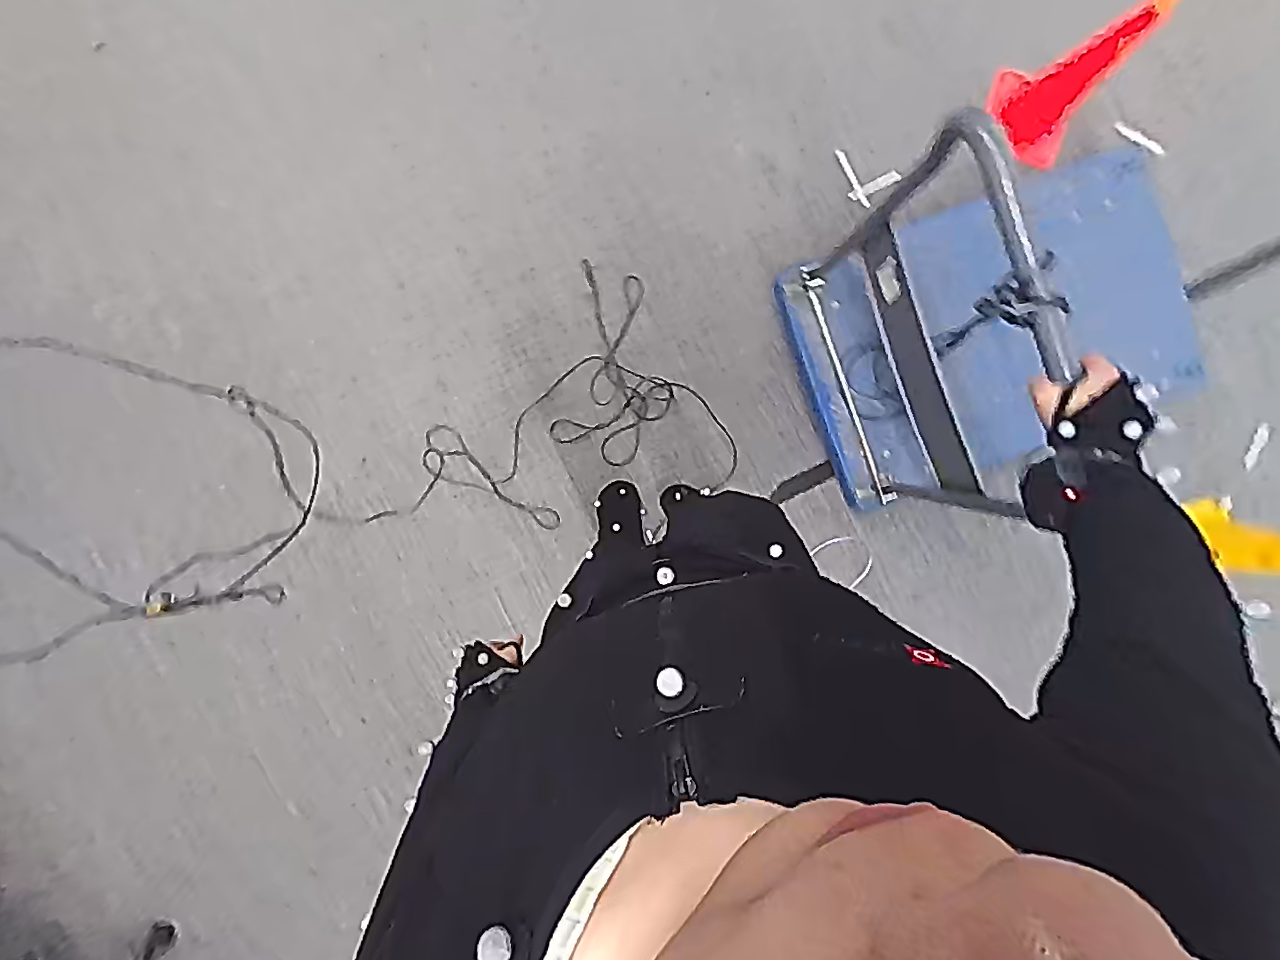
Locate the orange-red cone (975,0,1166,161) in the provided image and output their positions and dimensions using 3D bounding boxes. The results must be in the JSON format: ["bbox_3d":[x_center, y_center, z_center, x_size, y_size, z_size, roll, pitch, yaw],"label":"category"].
[{"bbox_3d":[0.969,-0.914,1.192,0.199,0.360,0.198,18,93,-4],"label":"orange-red cone"}]
